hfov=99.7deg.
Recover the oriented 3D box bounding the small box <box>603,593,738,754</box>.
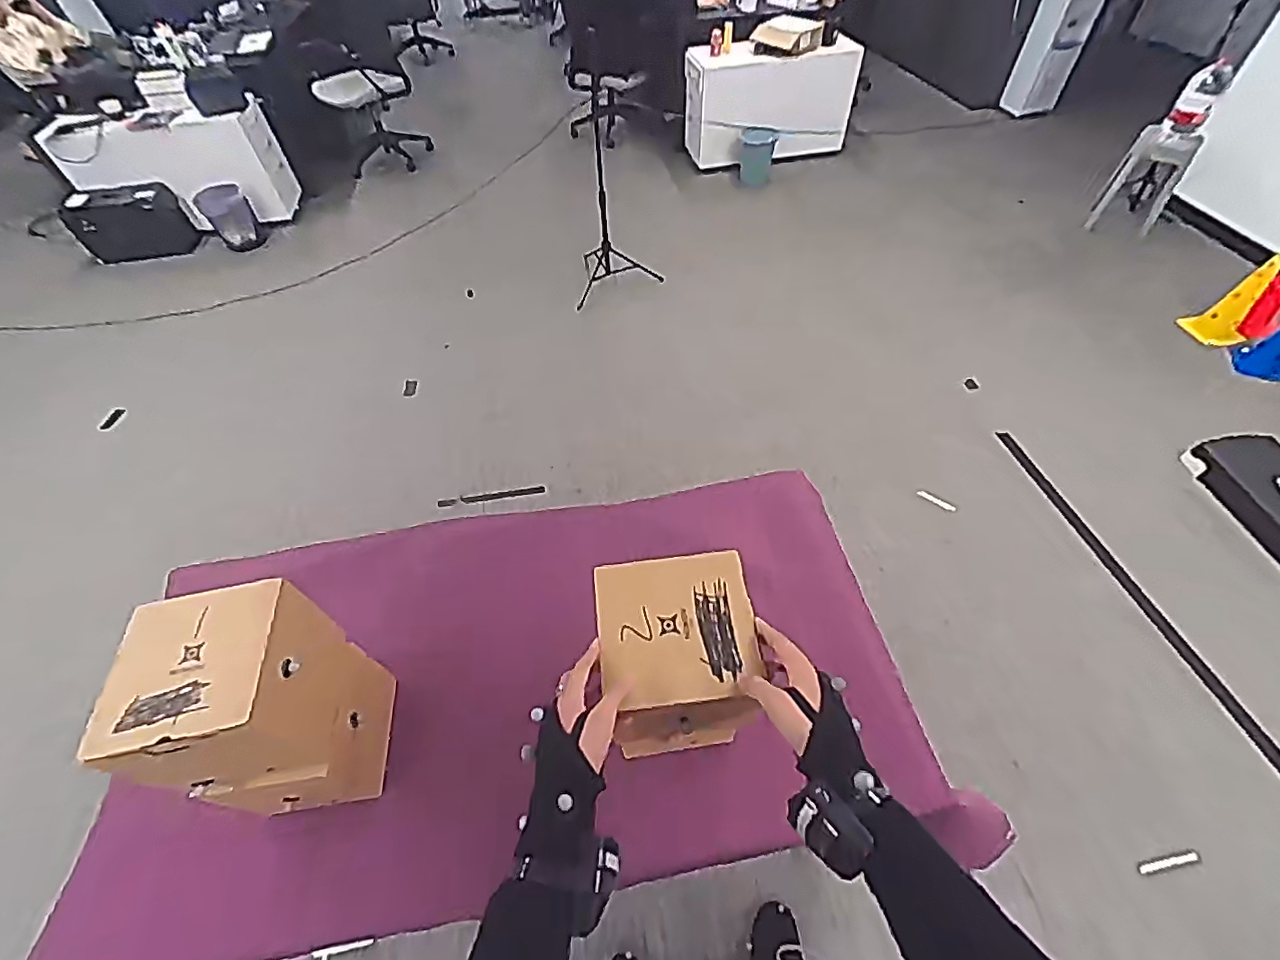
[{"bbox_3d":[0.041,0.294,0.803,0.168,0.176,0.179,-8,51,-3],"label":"small box"}]

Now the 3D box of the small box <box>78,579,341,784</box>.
[{"bbox_3d":[-0.486,0.248,0.649,0.168,0.176,0.179,-11,52,-6],"label":"small box"}]

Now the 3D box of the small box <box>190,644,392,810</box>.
[{"bbox_3d":[-0.475,0.358,0.772,0.168,0.176,0.179,-7,52,-4],"label":"small box"}]
